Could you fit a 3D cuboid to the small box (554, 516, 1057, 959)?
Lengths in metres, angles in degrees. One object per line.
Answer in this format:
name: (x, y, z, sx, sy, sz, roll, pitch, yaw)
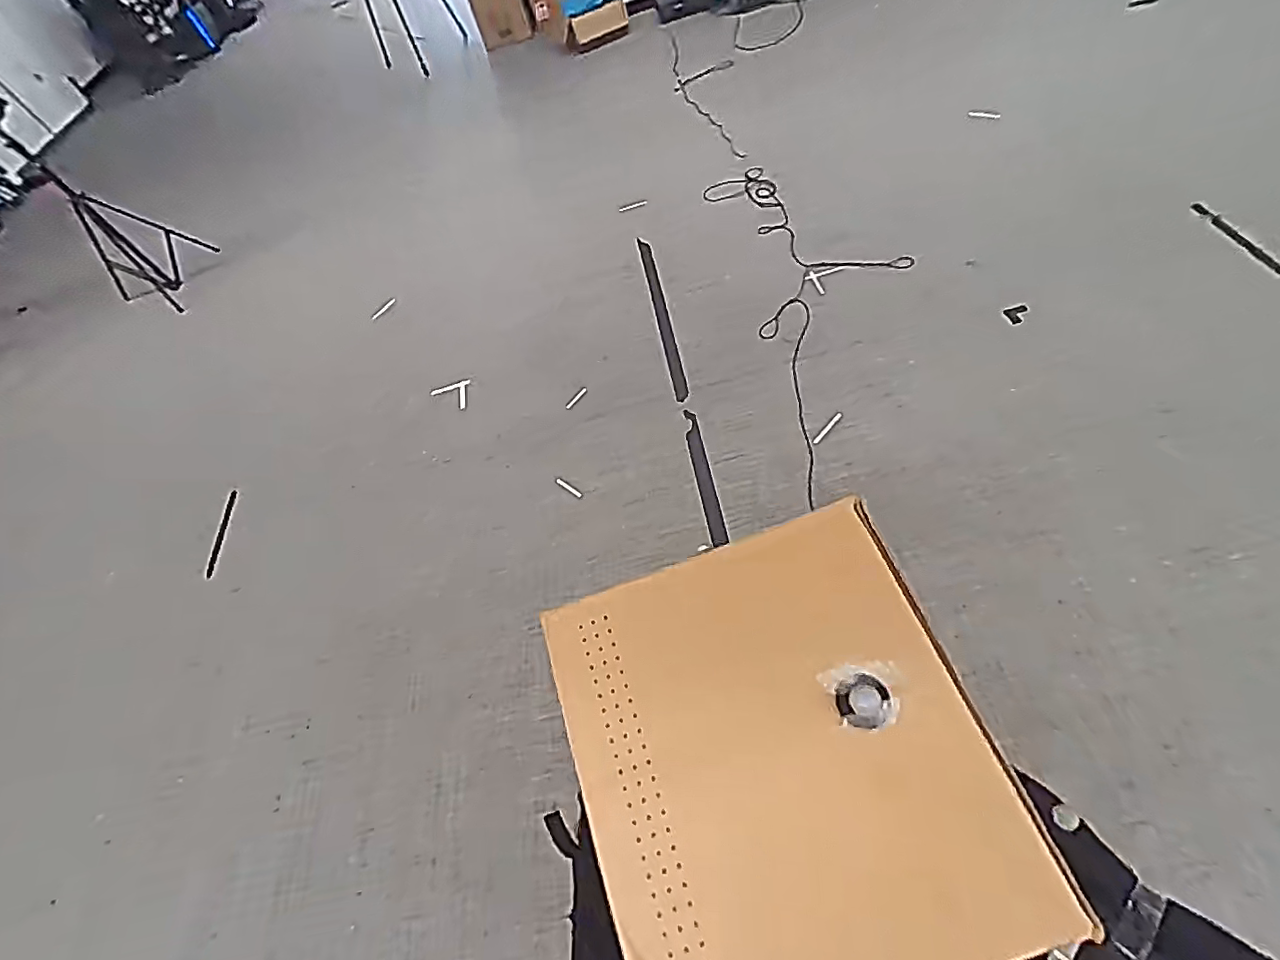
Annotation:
small box: (0.065, 0.150, 0.308, 0.176, 0.168, 0.179, -21, 65, 3)
